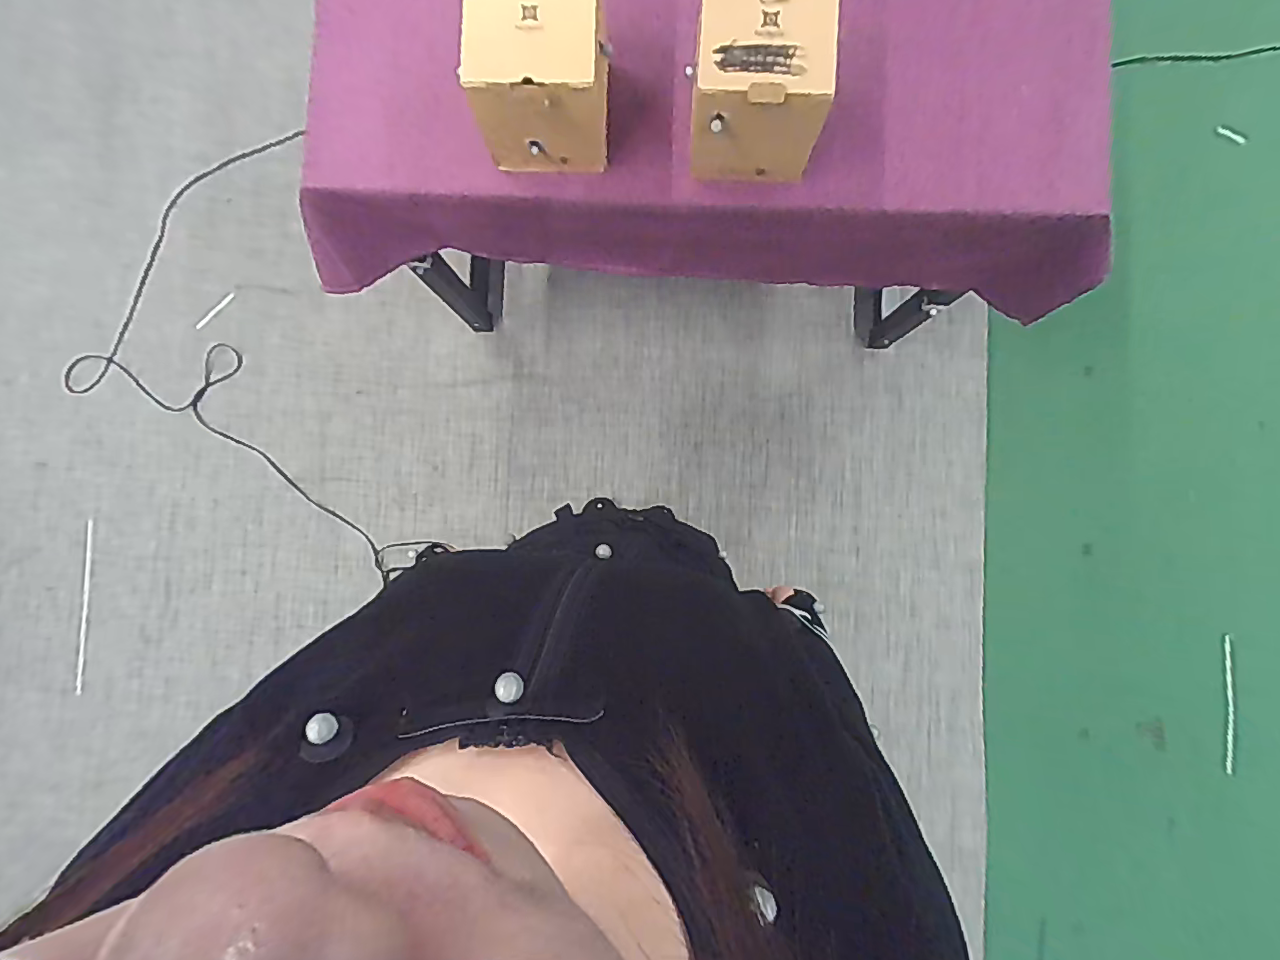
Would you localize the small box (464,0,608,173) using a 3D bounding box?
[{"bbox_3d":[-0.134,-0.564,0.751,0.168,0.176,0.179,1,88,1],"label":"small box"}]
